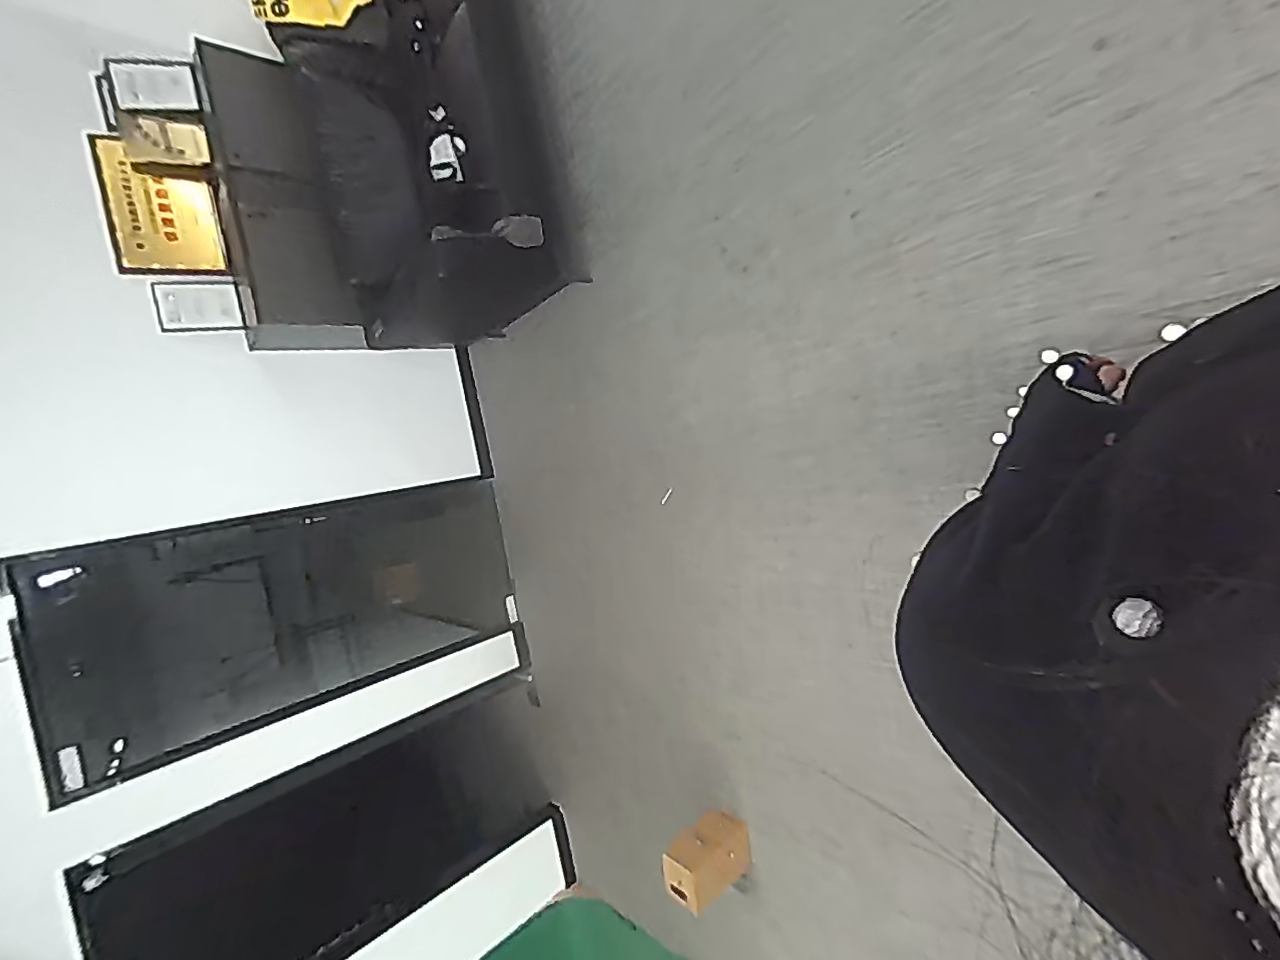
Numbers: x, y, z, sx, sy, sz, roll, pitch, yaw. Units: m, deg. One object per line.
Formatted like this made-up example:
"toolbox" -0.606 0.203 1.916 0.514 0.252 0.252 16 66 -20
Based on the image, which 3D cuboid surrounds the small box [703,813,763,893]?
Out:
"small box" 0.380 1.500 2.188 0.168 0.176 0.179 -1 99 49
